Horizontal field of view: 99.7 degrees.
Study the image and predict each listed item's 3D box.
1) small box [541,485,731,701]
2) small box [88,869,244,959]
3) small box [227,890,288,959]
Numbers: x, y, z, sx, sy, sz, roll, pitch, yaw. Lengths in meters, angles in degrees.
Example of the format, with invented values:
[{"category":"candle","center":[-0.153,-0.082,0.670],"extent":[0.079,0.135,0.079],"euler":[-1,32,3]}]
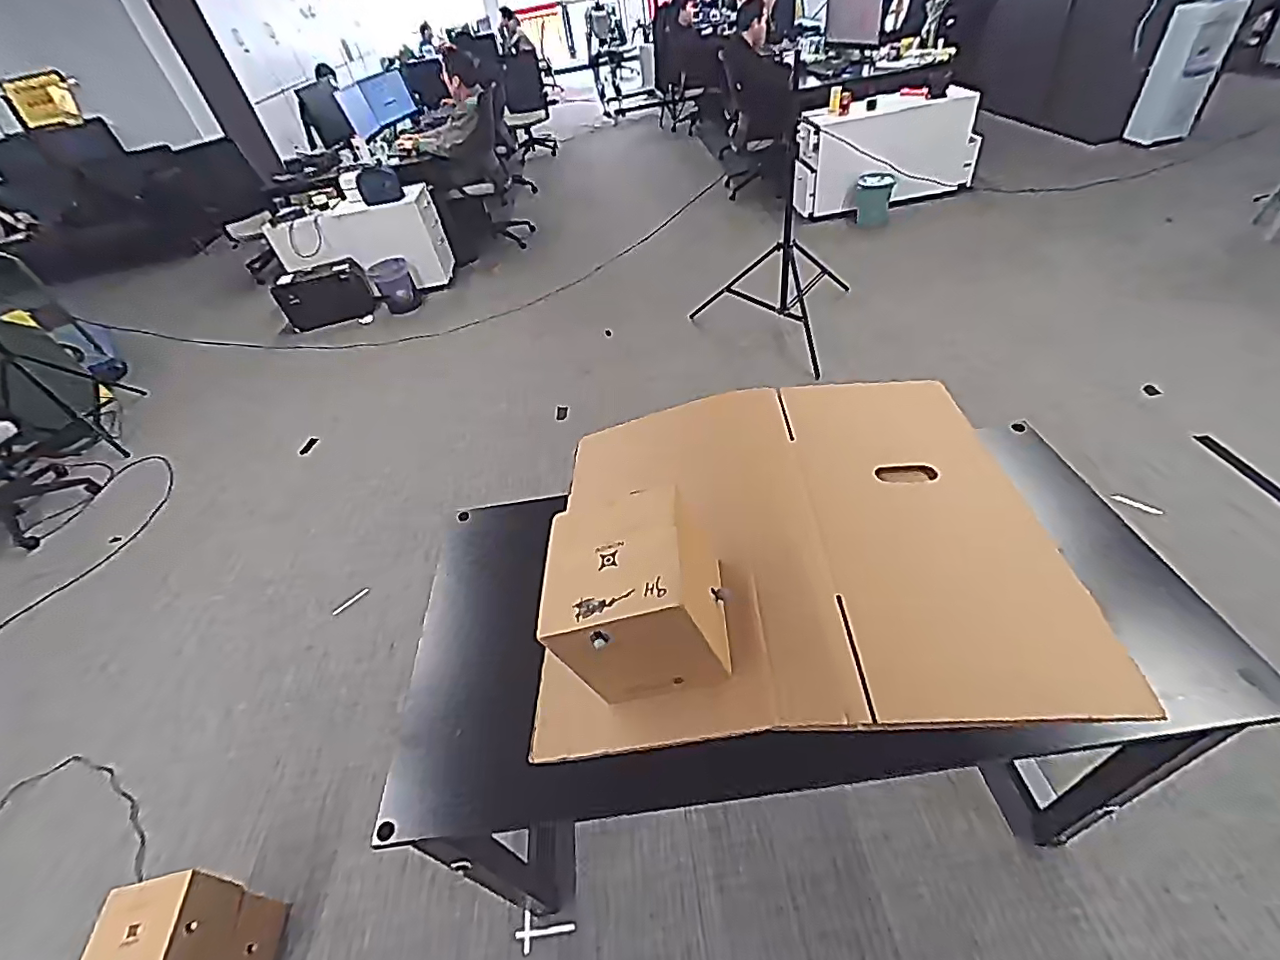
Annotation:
[{"category":"small box","center":[0.003,0.139,0.657],"extent":[0.168,0.176,0.179],"euler":[-18,40,16]},{"category":"small box","center":[-0.947,0.922,1.087],"extent":[0.168,0.176,0.179],"euler":[-13,42,-4]},{"category":"small box","center":[-0.921,1.043,1.193],"extent":[0.168,0.176,0.179],"euler":[-12,44,-1]}]
